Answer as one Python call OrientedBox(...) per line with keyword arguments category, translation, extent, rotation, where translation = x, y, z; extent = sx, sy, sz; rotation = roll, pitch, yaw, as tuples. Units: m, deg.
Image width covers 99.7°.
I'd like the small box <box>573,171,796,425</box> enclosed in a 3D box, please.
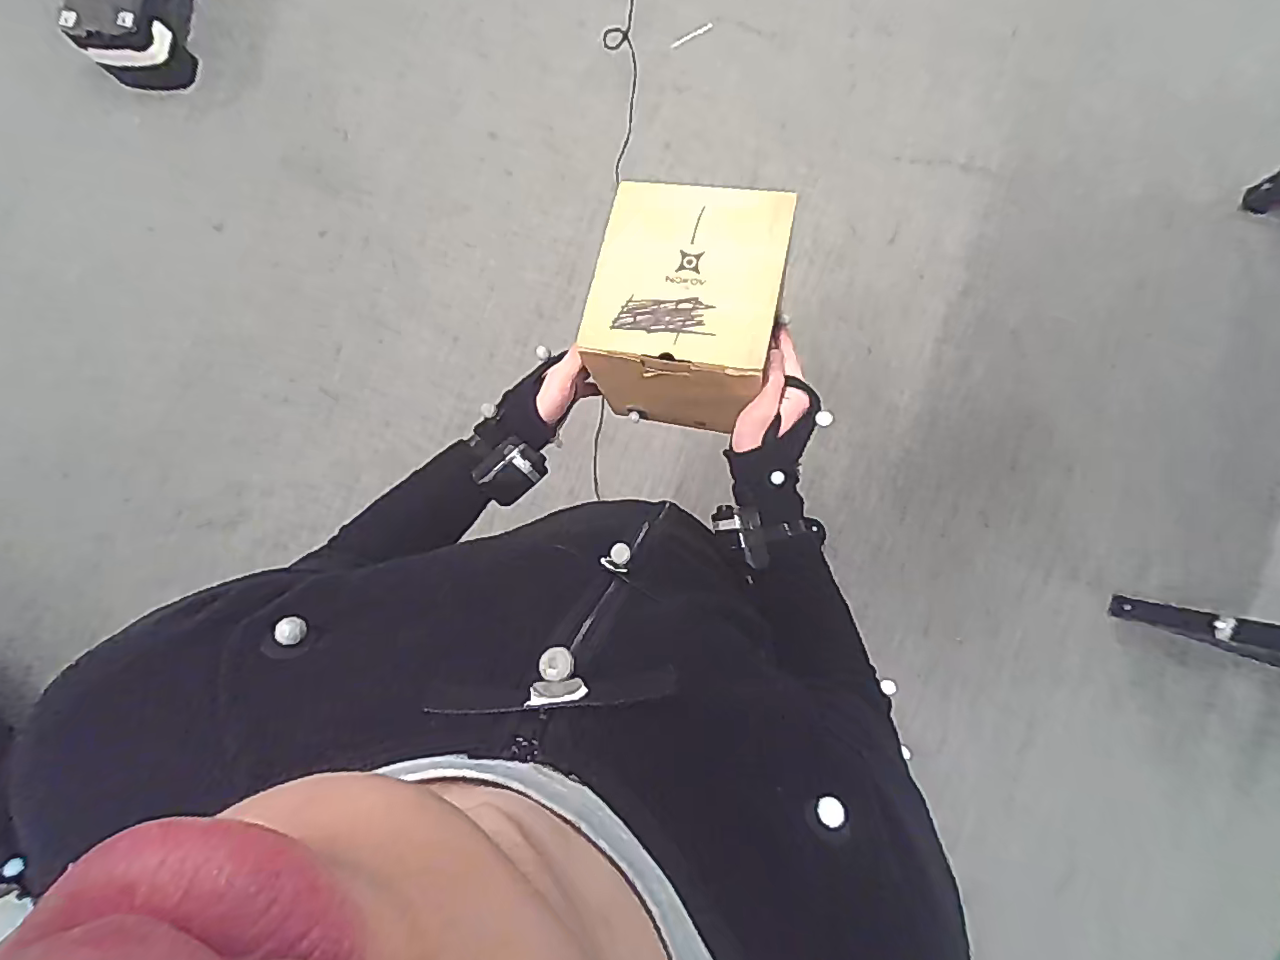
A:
OrientedBox(category="small box", translation=(0.051, -0.169, 0.542), extent=(0.168, 0.176, 0.179), rotation=(11, 78, 12))
